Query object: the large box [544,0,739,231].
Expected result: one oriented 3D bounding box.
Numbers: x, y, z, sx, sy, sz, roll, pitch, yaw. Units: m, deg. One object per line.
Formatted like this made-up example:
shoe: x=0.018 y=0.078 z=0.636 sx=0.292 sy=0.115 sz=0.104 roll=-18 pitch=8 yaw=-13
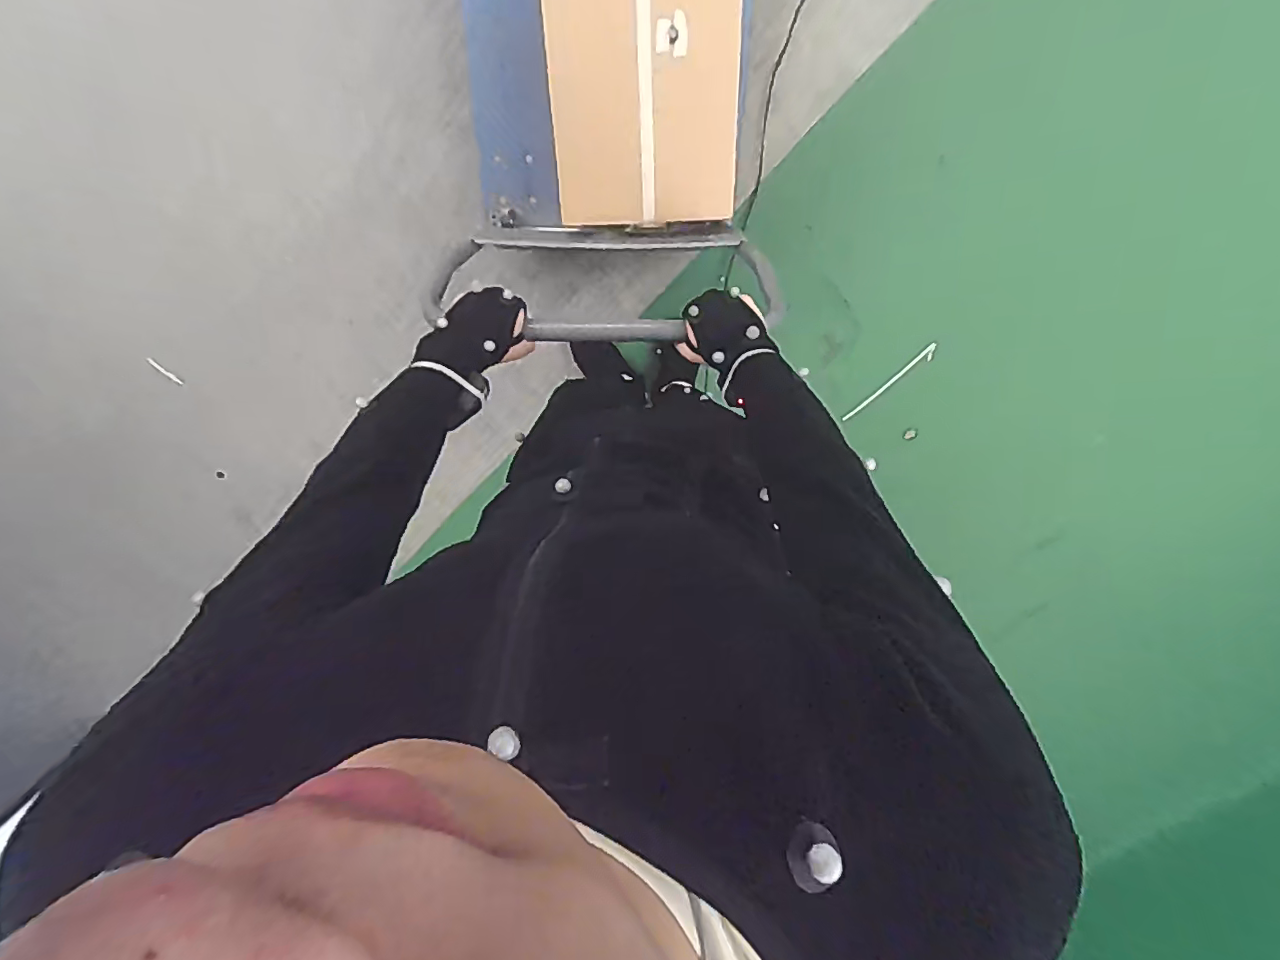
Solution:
large box: x=0.008 y=-0.714 z=1.043 sx=0.320 sy=0.320 sz=0.408 roll=-2 pitch=118 yaw=0
